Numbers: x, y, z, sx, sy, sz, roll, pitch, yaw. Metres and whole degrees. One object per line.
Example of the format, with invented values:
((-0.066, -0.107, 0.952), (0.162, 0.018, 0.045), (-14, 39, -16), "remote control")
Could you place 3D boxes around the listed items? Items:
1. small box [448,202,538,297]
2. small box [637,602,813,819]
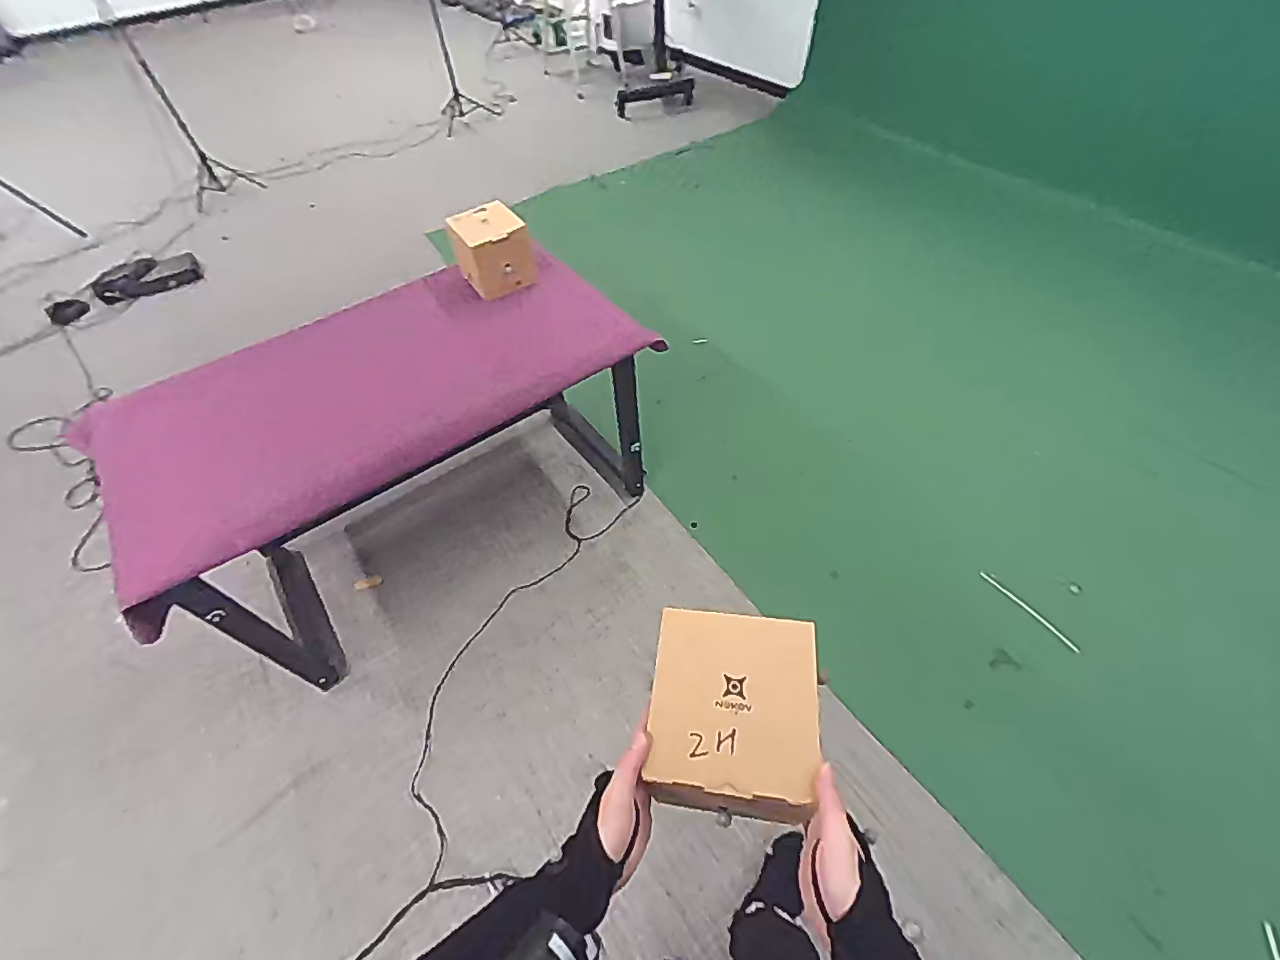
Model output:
((-0.403, -0.635, 1.507), (0.168, 0.176, 0.179), (-30, 59, -18), "small box")
((0.097, 0.260, 0.610), (0.168, 0.176, 0.179), (3, 53, 11), "small box")
